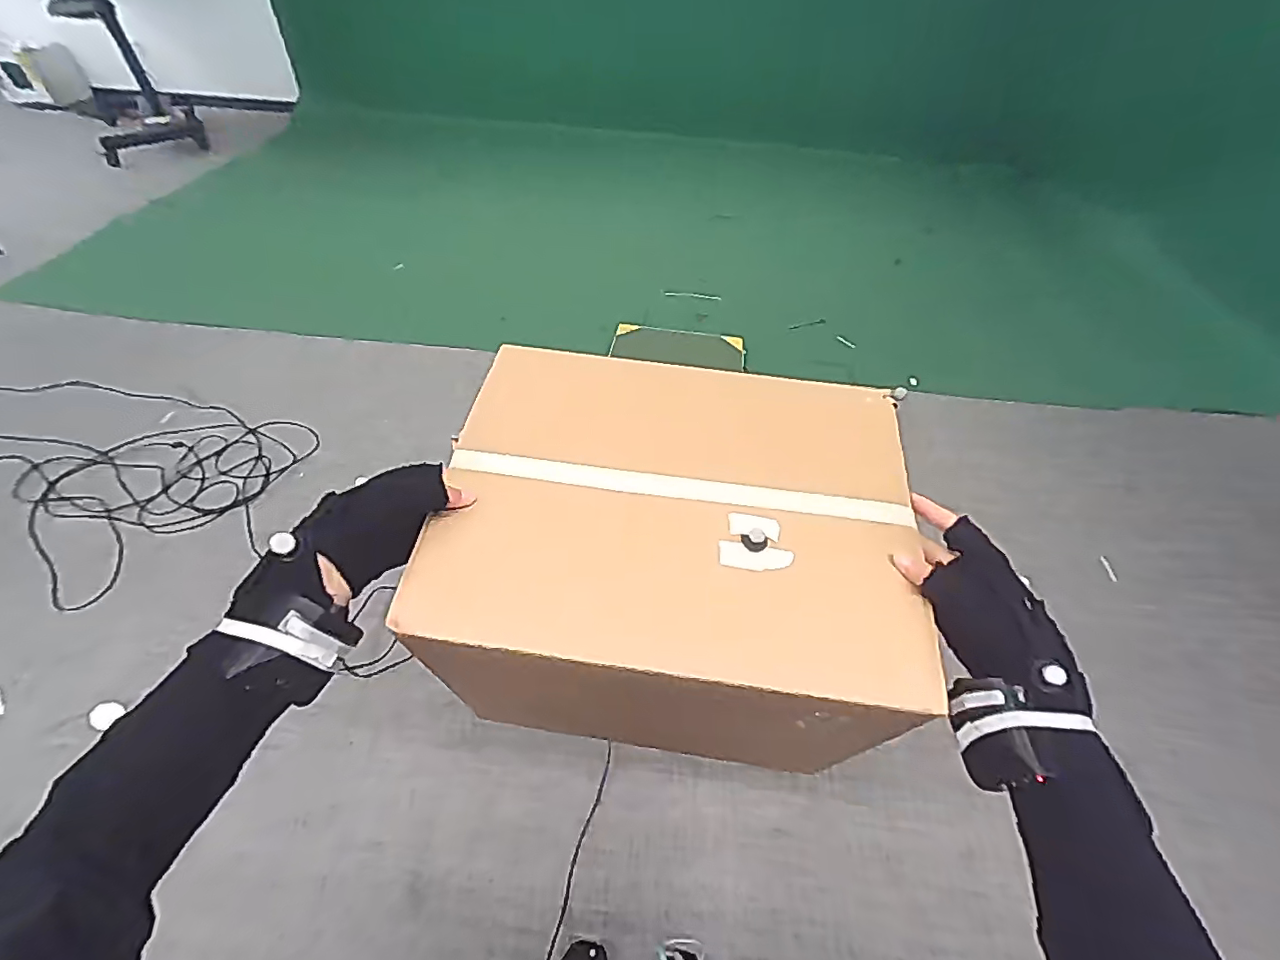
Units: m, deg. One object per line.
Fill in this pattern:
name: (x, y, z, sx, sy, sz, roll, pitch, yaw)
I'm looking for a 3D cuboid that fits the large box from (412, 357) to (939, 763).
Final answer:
large box: (0.032, 0.099, 0.605, 0.408, 0.320, 0.320, 8, 55, 2)
